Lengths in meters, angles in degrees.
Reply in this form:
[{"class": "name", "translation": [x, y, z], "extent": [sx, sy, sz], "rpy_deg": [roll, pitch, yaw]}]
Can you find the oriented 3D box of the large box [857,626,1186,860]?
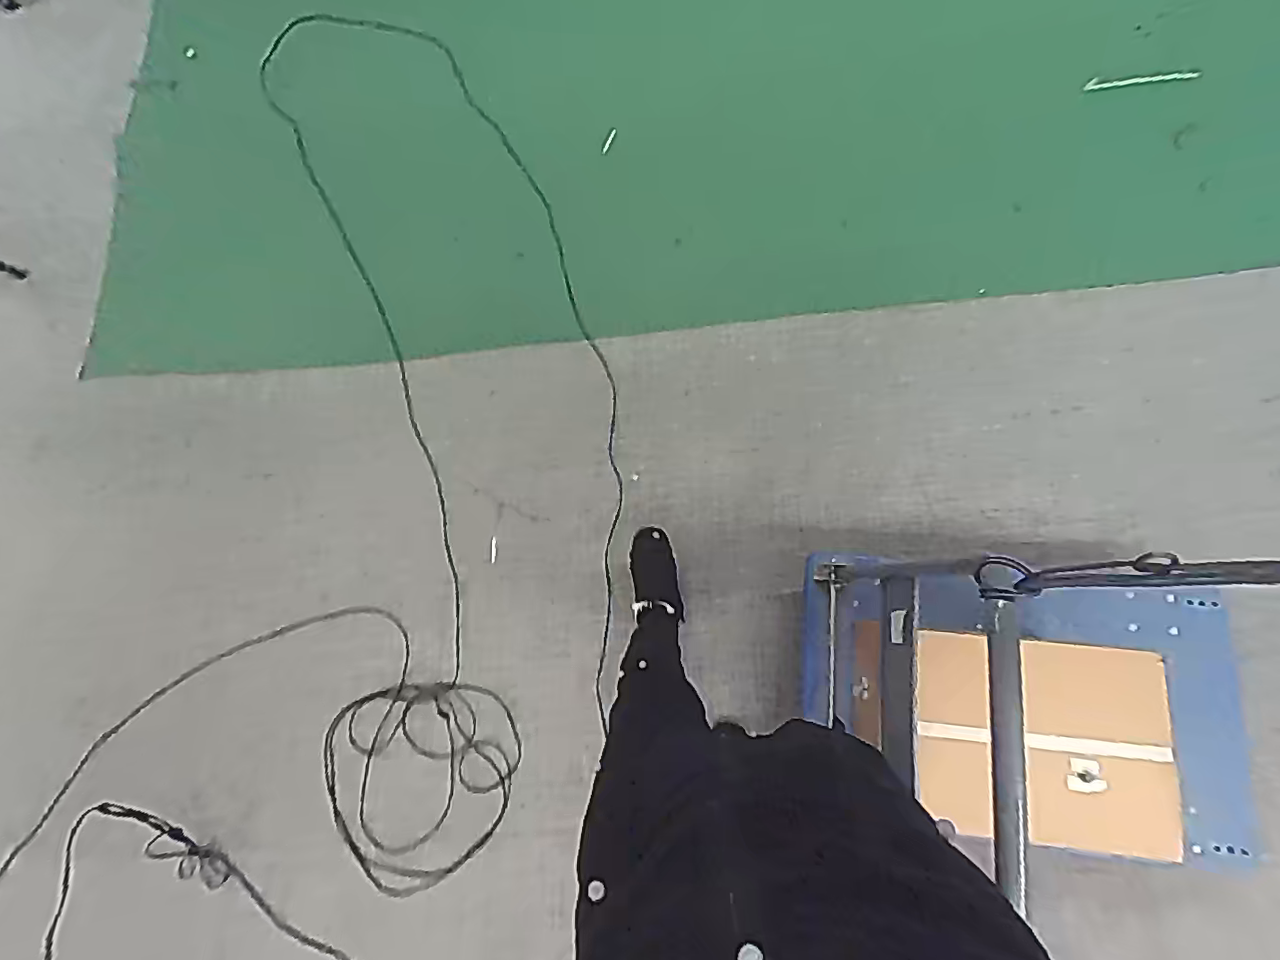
[{"class": "large box", "translation": [0.656, 0.450, 1.014], "extent": [0.408, 0.320, 0.320], "rpy_deg": [5, 79, 5]}]
